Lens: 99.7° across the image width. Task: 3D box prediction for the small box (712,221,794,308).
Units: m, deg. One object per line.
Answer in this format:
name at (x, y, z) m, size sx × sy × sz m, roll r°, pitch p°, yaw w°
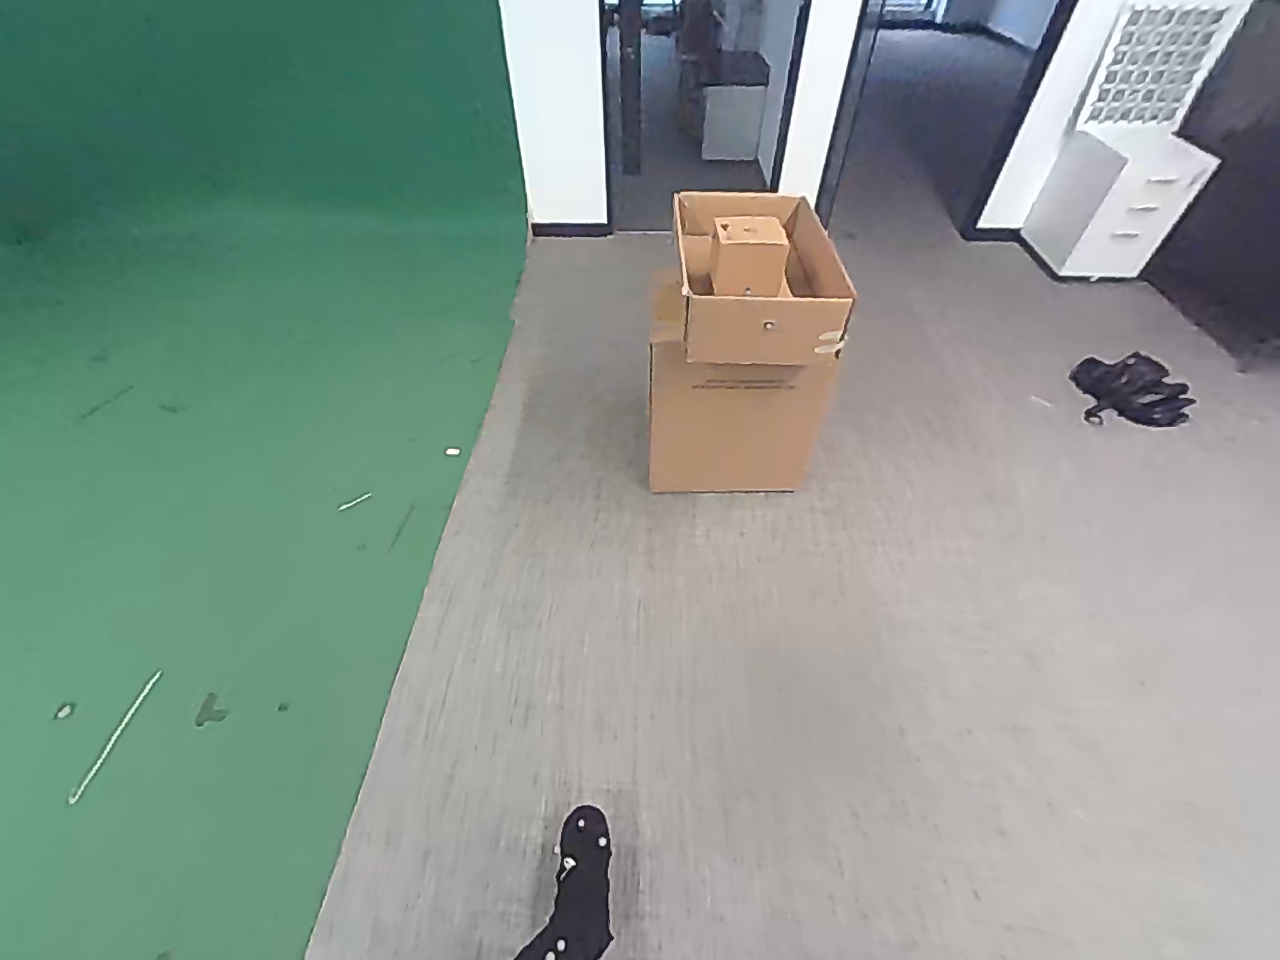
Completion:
small box at (0.297, -0.579, 1.458) m, size 0.179 × 0.176 × 0.168 m, roll 1°, pitch 46°, yaw -1°
